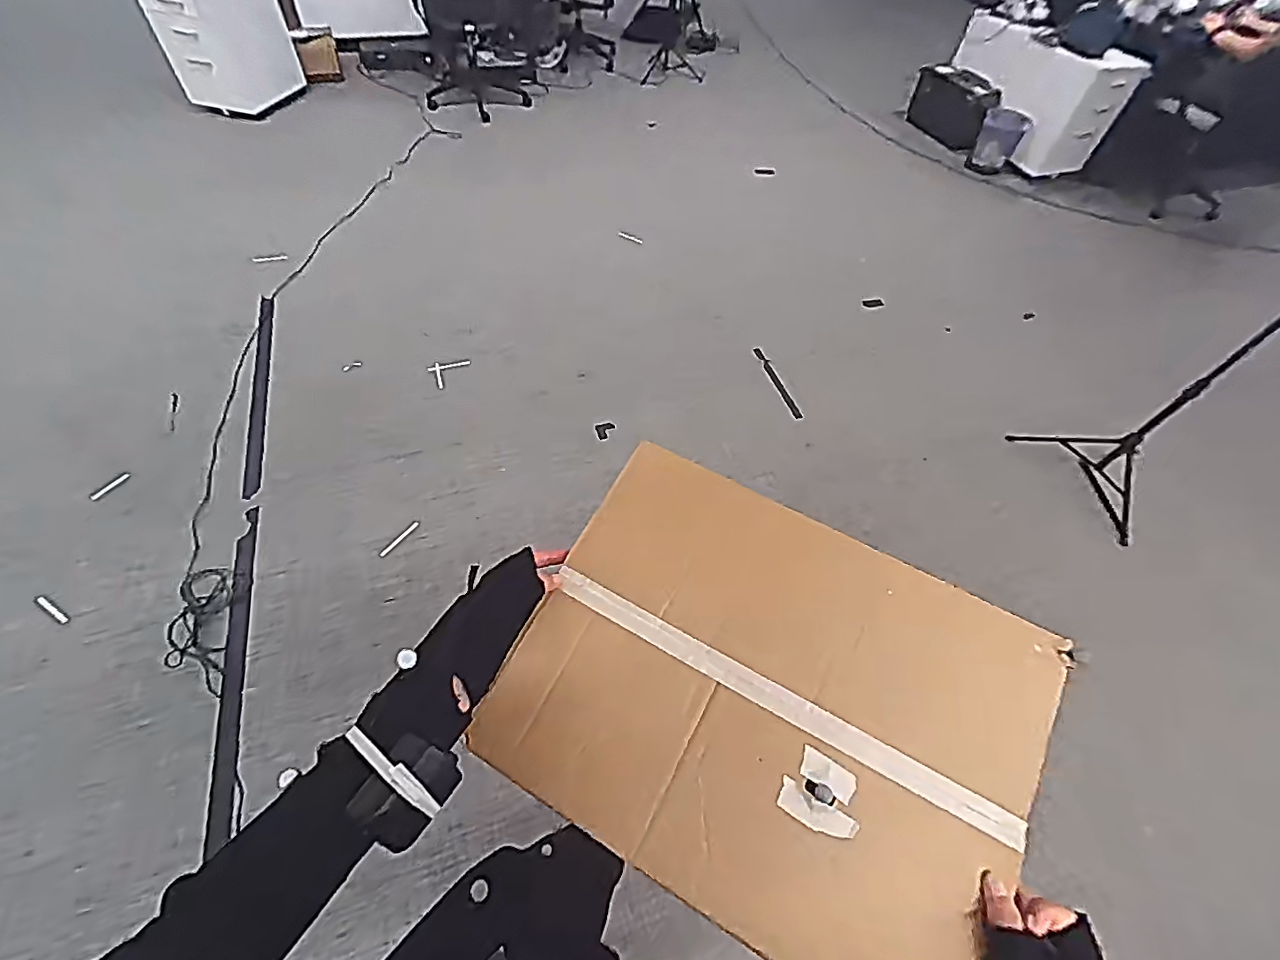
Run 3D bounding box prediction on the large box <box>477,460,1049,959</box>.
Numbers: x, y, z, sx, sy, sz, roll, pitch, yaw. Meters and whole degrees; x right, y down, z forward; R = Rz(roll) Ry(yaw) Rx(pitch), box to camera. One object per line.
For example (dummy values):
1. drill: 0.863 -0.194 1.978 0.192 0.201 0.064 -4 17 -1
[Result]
1. large box: 0.111 0.242 0.592 0.408 0.320 0.320 27 71 14
